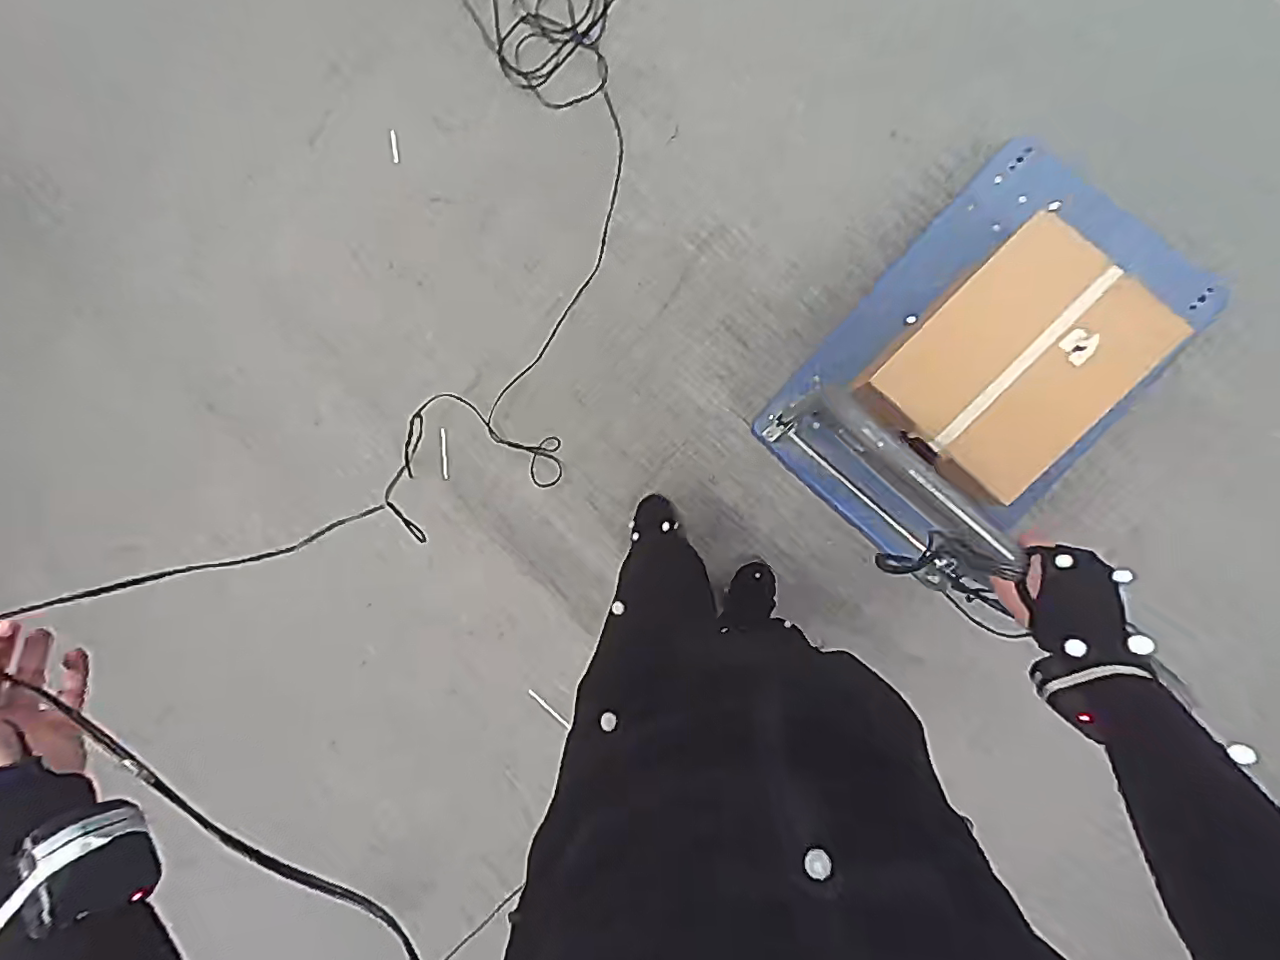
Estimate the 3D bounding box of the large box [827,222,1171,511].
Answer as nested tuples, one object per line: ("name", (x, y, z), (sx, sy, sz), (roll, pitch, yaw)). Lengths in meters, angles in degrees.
("large box", (0.645, -0.186, 1.057), (0.320, 0.320, 0.408), (44, 93, 5))
